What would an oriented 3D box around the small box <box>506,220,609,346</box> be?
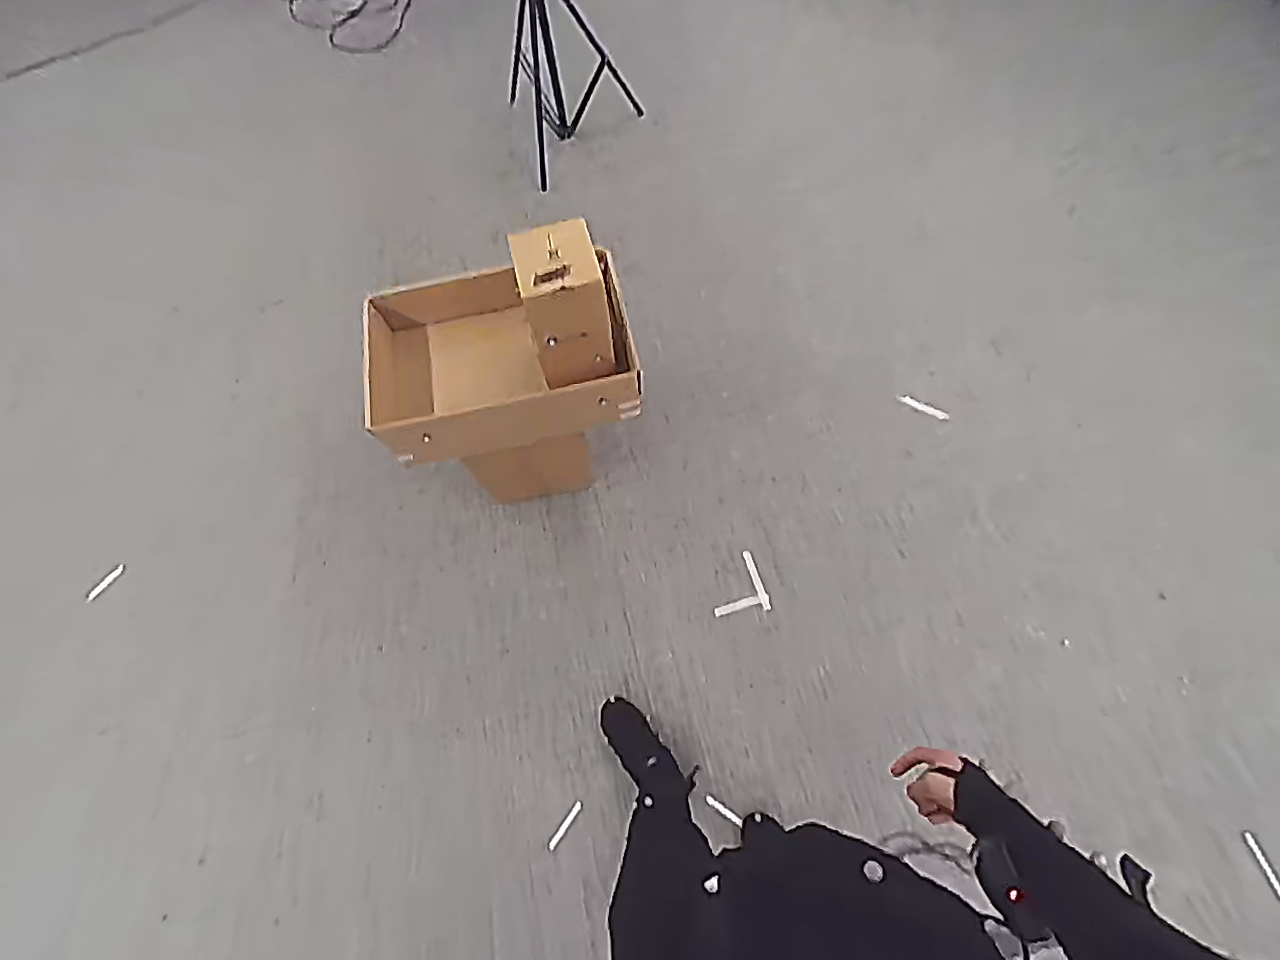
[{"bbox_3d":[-0.169,-0.404,1.142,0.168,0.176,0.179,-15,67,-4],"label":"small box"}]
